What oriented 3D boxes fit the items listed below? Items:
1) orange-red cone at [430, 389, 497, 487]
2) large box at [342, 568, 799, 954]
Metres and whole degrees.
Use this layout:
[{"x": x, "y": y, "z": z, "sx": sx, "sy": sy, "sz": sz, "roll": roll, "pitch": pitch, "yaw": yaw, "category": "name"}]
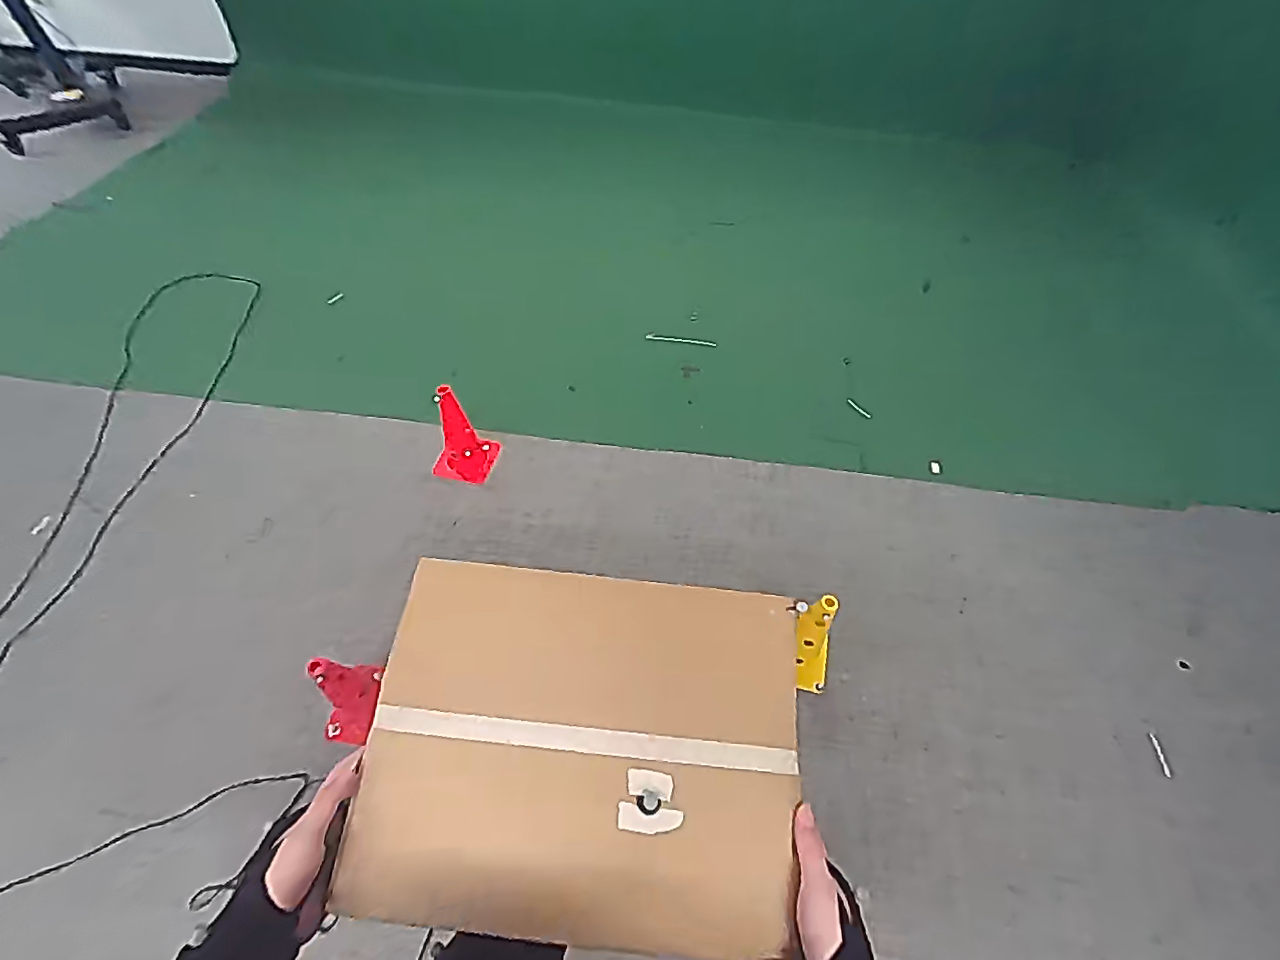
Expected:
[{"x": -0.641, "y": -0.168, "z": 1.846, "sx": 0.199, "sy": 0.360, "sz": 0.198, "roll": 12, "pitch": 53, "yaw": 7, "category": "orange-red cone"}, {"x": -0.055, "y": 0.313, "z": 0.659, "sx": 0.408, "sy": 0.320, "sz": 0.320, "roll": 6, "pitch": 66, "yaw": 1, "category": "large box"}]
